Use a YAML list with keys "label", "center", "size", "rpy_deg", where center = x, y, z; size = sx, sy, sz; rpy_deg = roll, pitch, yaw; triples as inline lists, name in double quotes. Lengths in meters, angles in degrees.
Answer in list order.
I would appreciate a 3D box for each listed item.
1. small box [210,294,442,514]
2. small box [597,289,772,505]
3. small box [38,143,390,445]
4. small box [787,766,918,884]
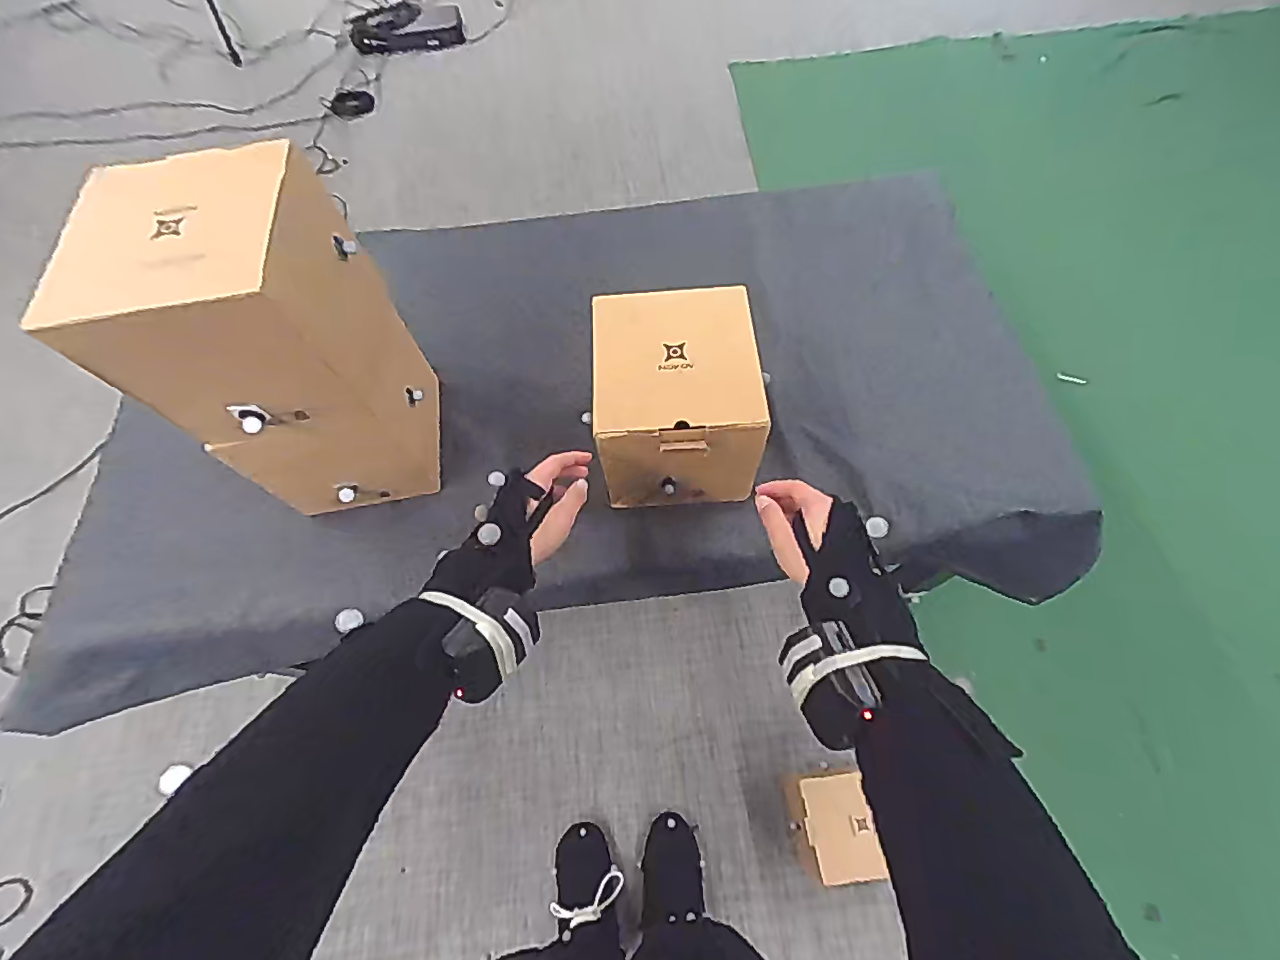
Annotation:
- label: "small box"
  center: [-0.340, -0.082, 0.625]
  size: [0.168, 0.176, 0.179]
  rpy_deg: [-10, 64, -2]
- label: "small box"
  center: [0.040, -0.087, 0.611]
  size: [0.168, 0.176, 0.179]
  rpy_deg: [-4, 63, 1]
- label: "small box"
  center: [-0.342, -0.155, 0.480]
  size: [0.168, 0.176, 0.179]
  rpy_deg: [-11, 64, -1]
- label: "small box"
  center: [0.390, 0.653, 1.037]
  size: [0.179, 0.176, 0.168]
  rpy_deg: [-8, 62, -1]
